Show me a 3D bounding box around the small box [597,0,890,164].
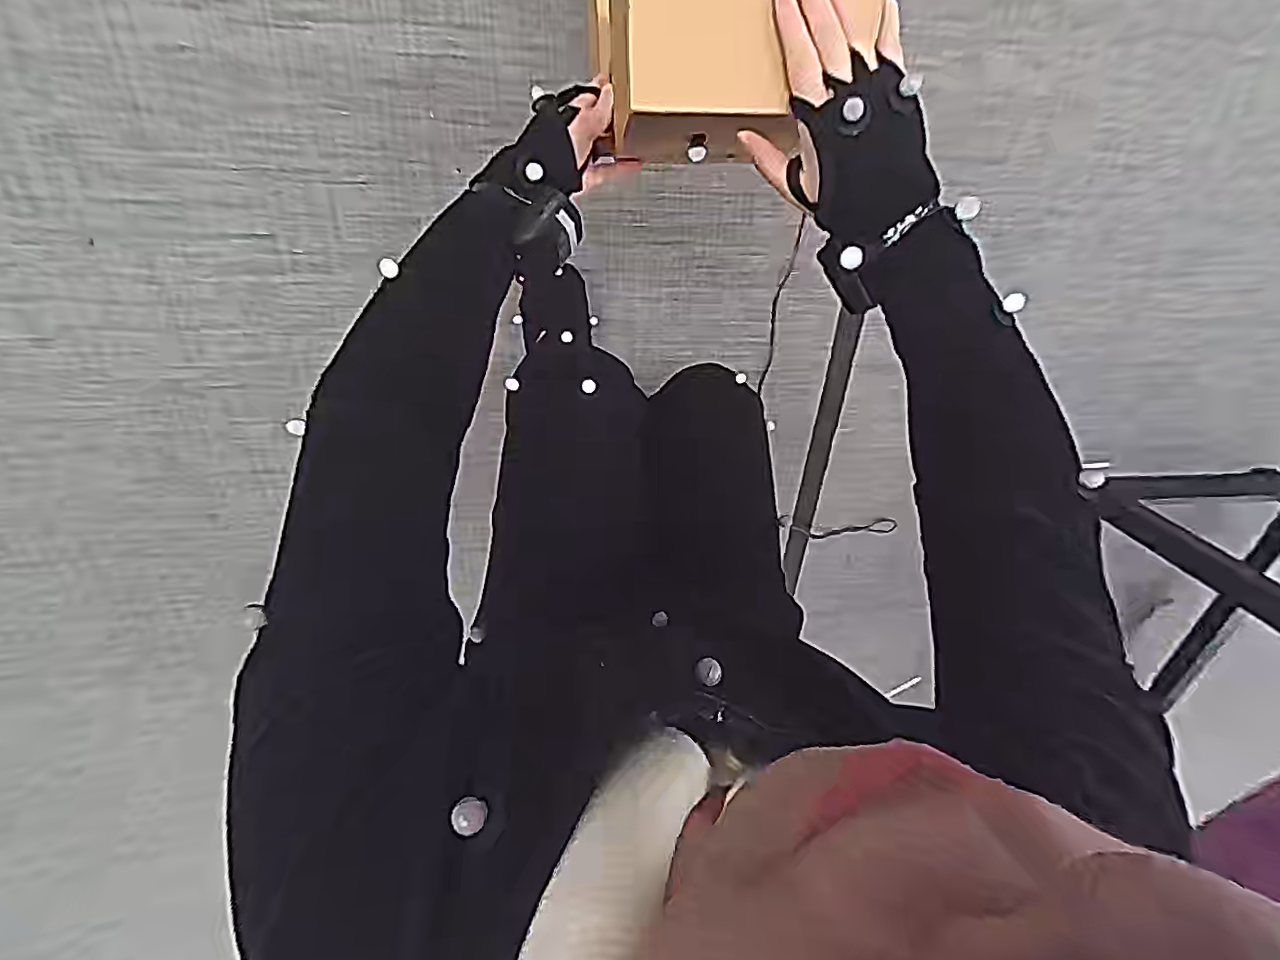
[{"bbox_3d":[0.071,-0.356,0.369,0.179,0.176,0.168,-3,91,13],"label":"small box"}]
